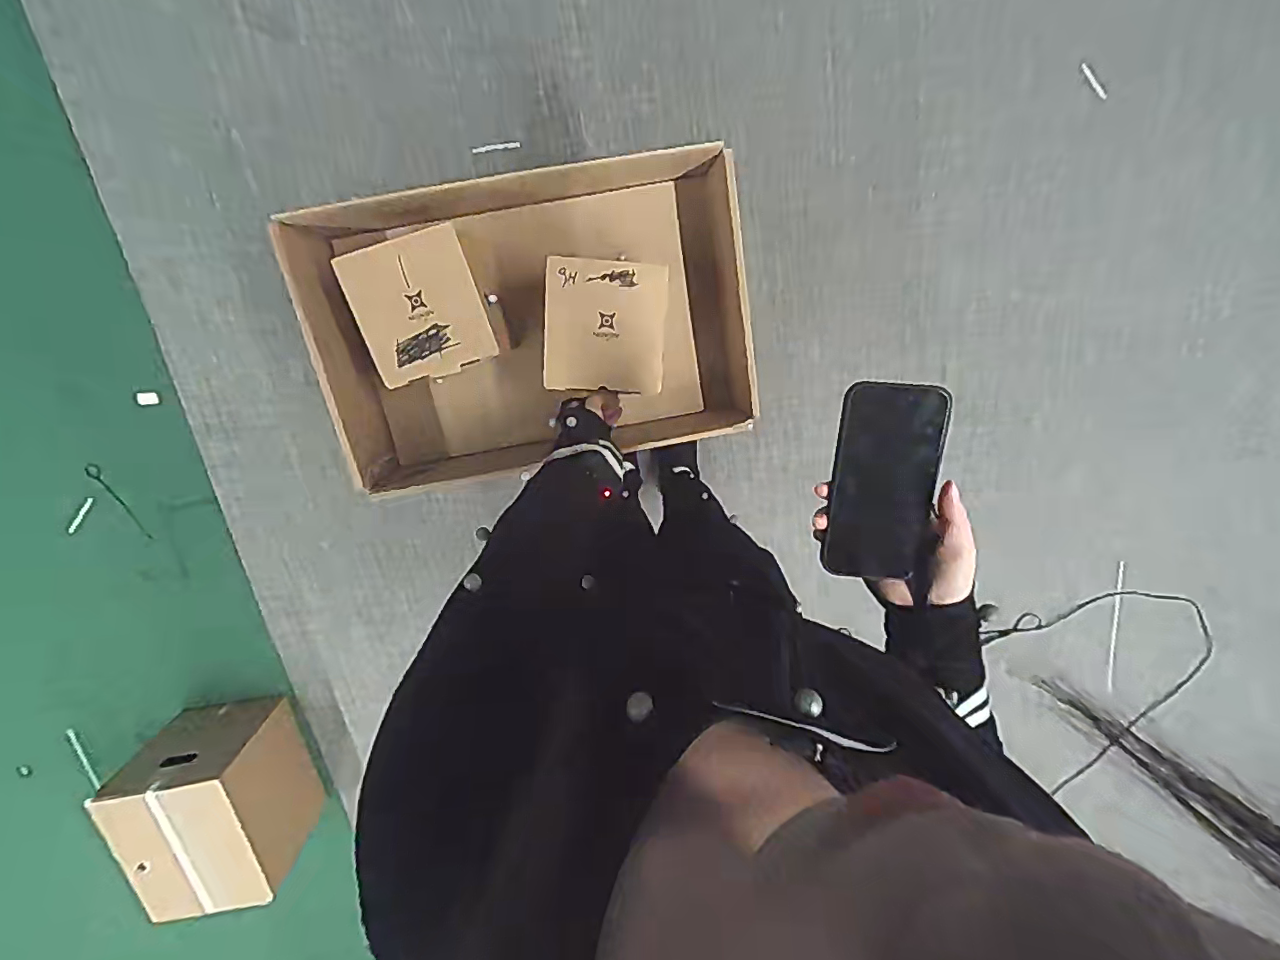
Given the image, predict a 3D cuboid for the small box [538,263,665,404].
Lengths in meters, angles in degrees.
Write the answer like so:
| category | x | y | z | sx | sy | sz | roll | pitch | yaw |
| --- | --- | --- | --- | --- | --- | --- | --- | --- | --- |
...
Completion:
| category | x | y | z | sx | sy | sz | roll | pitch | yaw |
| --- | --- | --- | --- | --- | --- | --- | --- | --- | --- |
| small box | -0.059 | -0.213 | 0.811 | 0.168 | 0.176 | 0.179 | 3 | 102 | -5 |
